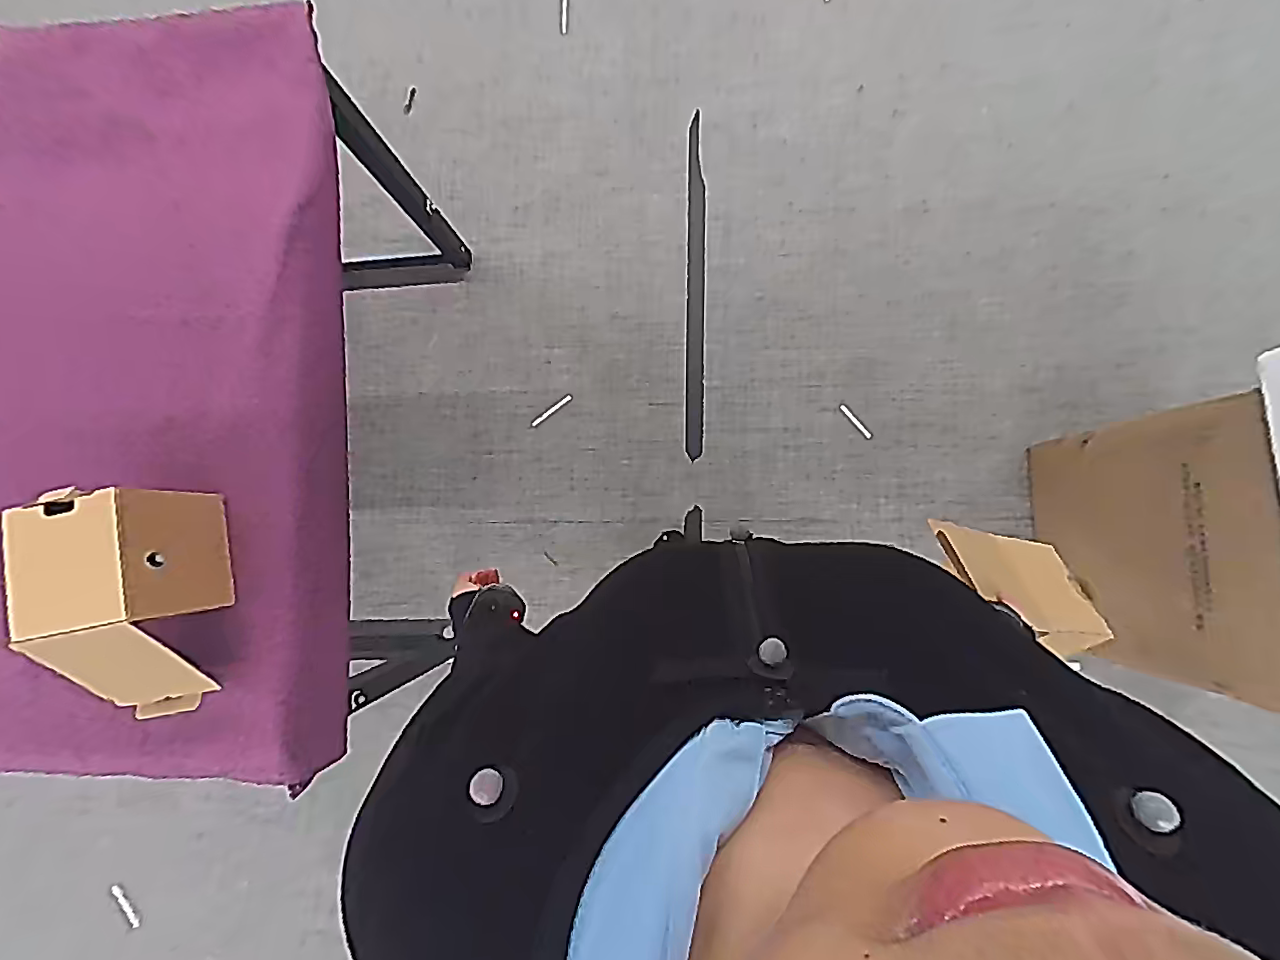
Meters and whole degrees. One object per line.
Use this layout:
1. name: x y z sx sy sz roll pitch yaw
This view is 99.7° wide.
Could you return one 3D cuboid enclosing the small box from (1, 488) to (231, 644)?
1. small box: -0.722 0.115 0.763 0.168 0.176 0.179 -11 84 3
